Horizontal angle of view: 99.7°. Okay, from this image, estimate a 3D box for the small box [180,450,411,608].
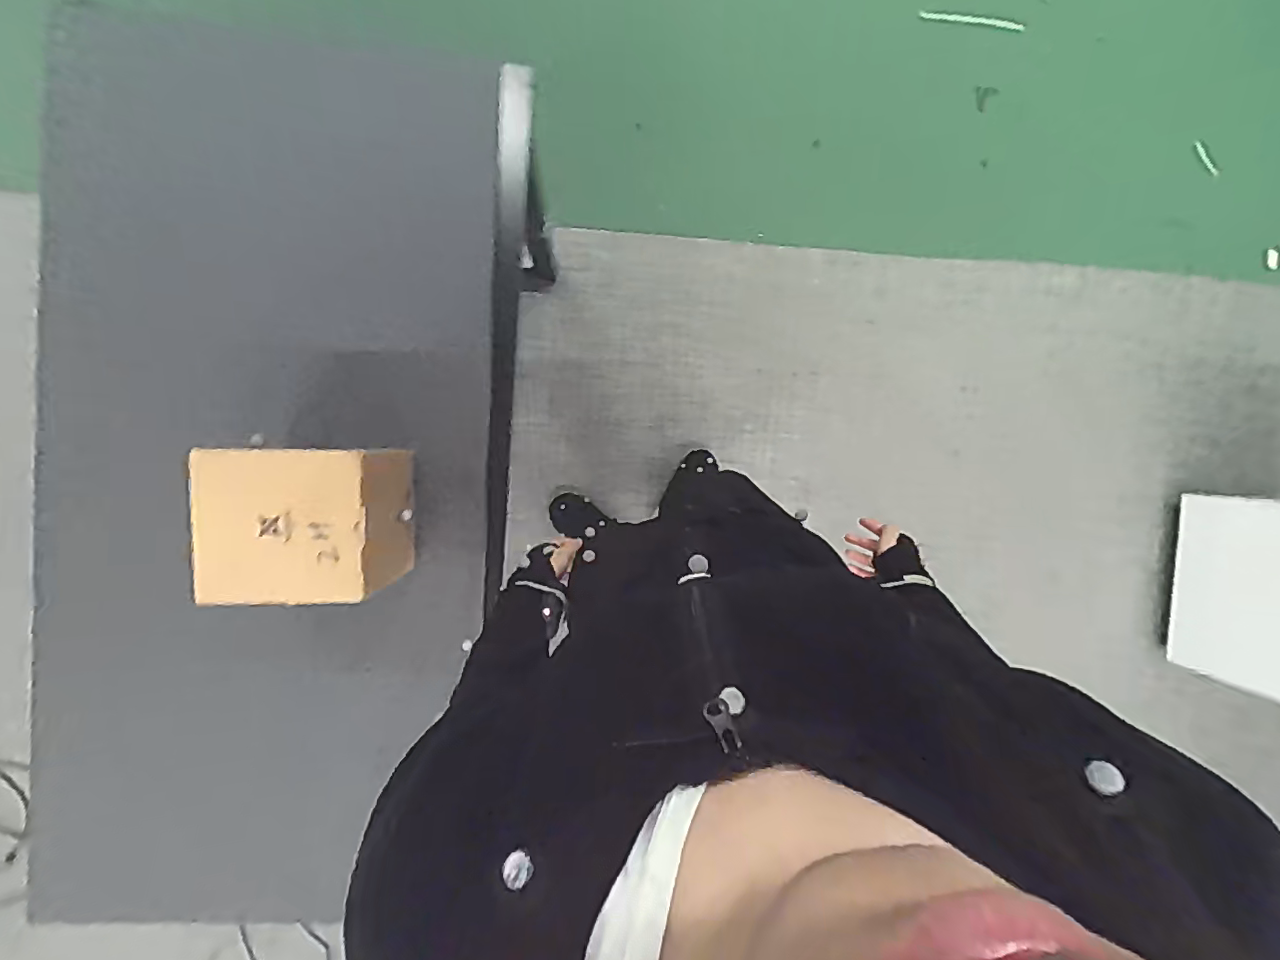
[{"bbox_3d":[-0.389,0.049,0.639,0.179,0.176,0.168,0,93,-5],"label":"small box"}]
